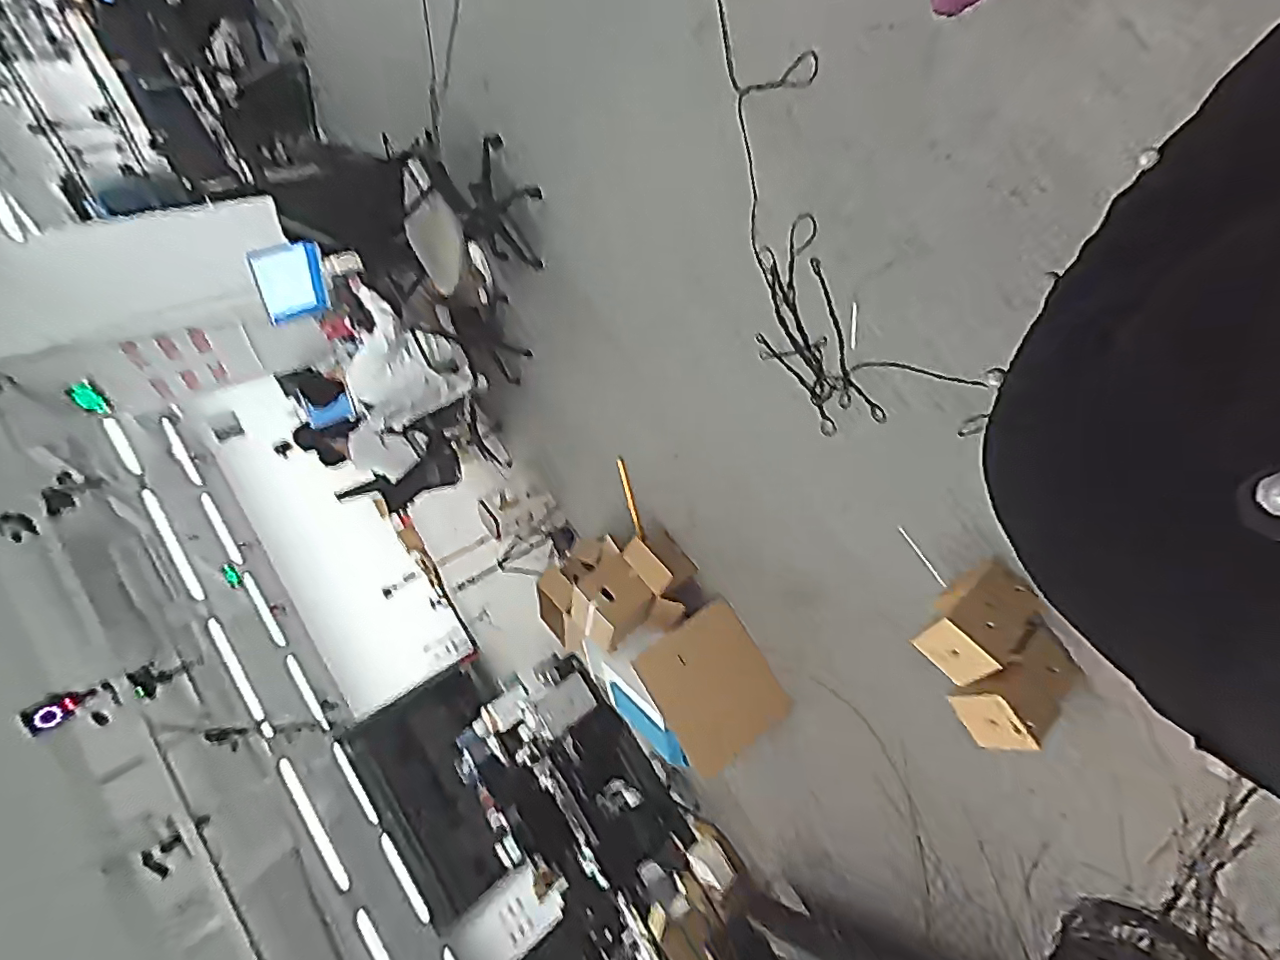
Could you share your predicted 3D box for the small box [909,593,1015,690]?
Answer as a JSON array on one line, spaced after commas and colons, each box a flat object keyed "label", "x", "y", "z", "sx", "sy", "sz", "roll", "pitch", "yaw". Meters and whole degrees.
[{"label": "small box", "x": 0.908, "y": 0.448, "z": 1.516, "sx": 0.168, "sy": 0.176, "sz": 0.179, "roll": 47, "pitch": 148, "yaw": 22}]

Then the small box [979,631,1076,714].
[{"label": "small box", "x": 1.131, "y": 0.565, "z": 1.600, "sx": 0.179, "sy": 0.176, "sz": 0.168, "roll": 56, "pitch": 150, "yaw": 7}]
